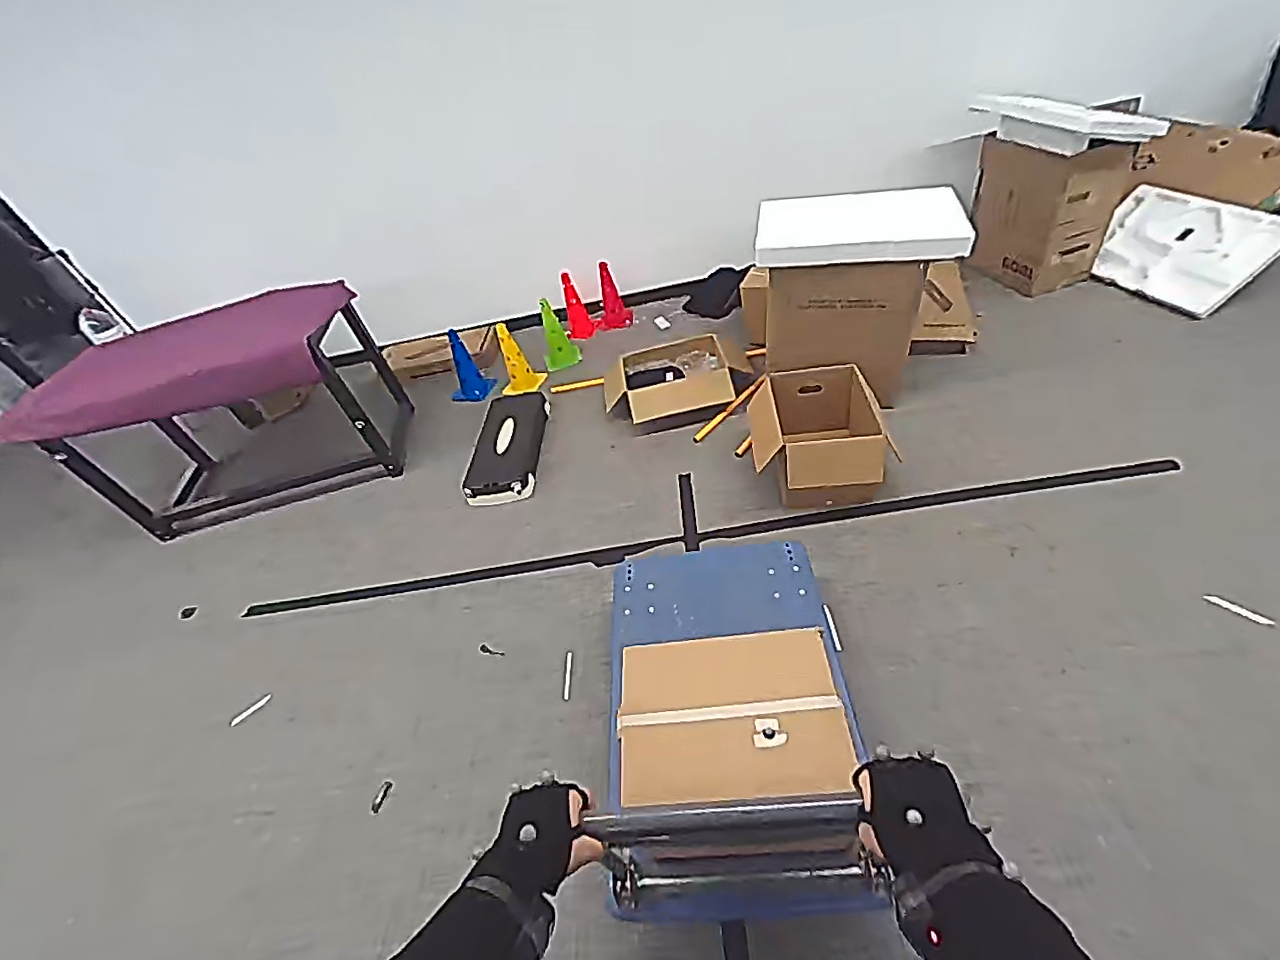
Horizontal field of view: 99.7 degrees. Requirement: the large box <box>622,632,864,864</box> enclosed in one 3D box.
[{"bbox_3d":[0.186,0.544,1.091,0.408,0.320,0.320,-8,43,6],"label":"large box"}]
